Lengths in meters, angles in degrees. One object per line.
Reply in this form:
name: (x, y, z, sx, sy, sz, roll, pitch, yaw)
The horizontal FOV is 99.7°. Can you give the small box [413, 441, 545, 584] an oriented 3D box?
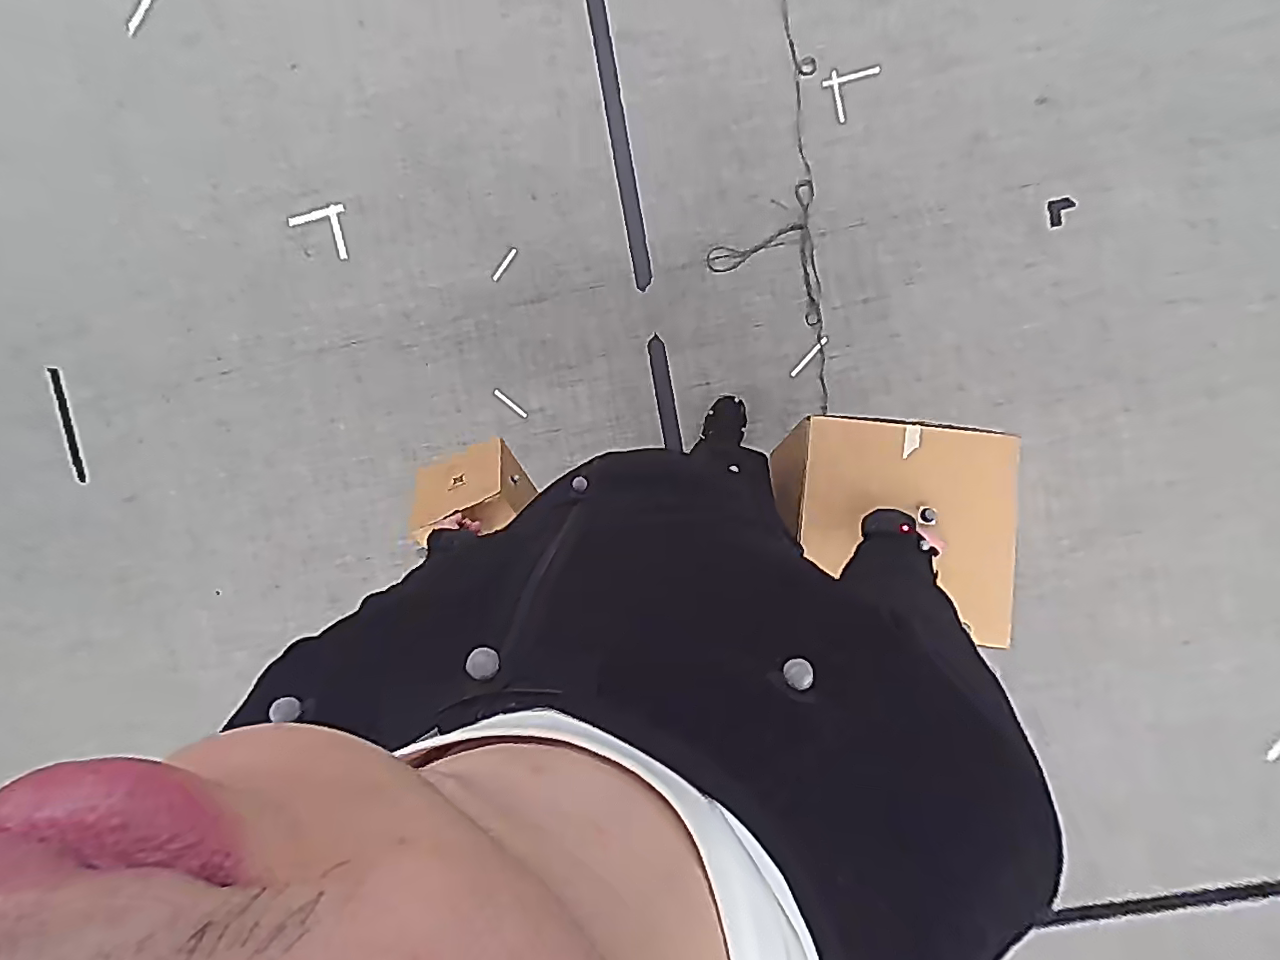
small box: (-0.283, 0.066, 0.987, 0.168, 0.179, 0.176, -23, 127, 3)
